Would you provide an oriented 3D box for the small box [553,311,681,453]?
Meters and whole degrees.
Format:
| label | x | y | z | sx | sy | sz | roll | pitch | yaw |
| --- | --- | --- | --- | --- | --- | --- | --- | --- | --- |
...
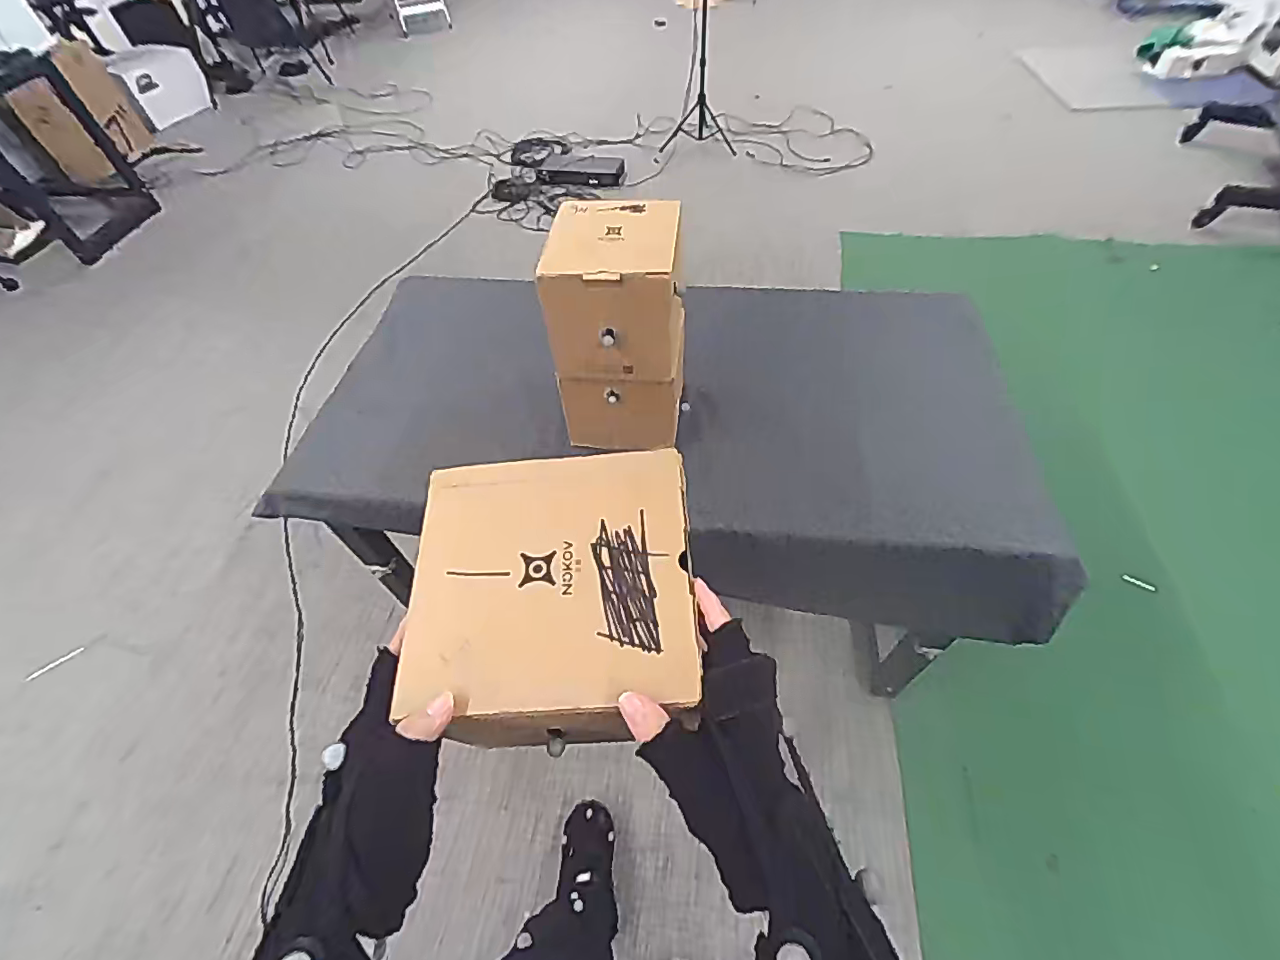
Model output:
| label | x | y | z | sx | sy | sz | roll | pitch | yaw |
| --- | --- | --- | --- | --- | --- | --- | --- | --- | --- |
| small box | -0.028 | -0.158 | 0.875 | 0.179 | 0.176 | 0.168 | 4 | 54 | 5 |

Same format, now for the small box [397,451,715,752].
| label | x | y | z | sx | sy | sz | roll | pitch | yaw |
| --- | --- | --- | --- | --- | --- | --- | --- | --- | --- |
| small box | -0.050 | 0.098 | 0.400 | 0.179 | 0.176 | 0.168 | -6 | 59 | -1 |

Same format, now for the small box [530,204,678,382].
| label | x | y | z | sx | sy | sz | roll | pitch | yaw |
| --- | --- | --- | --- | --- | --- | --- | --- | --- | --- |
| small box | -0.036 | -0.251 | 0.741 | 0.168 | 0.176 | 0.179 | 3 | 54 | 6 |
